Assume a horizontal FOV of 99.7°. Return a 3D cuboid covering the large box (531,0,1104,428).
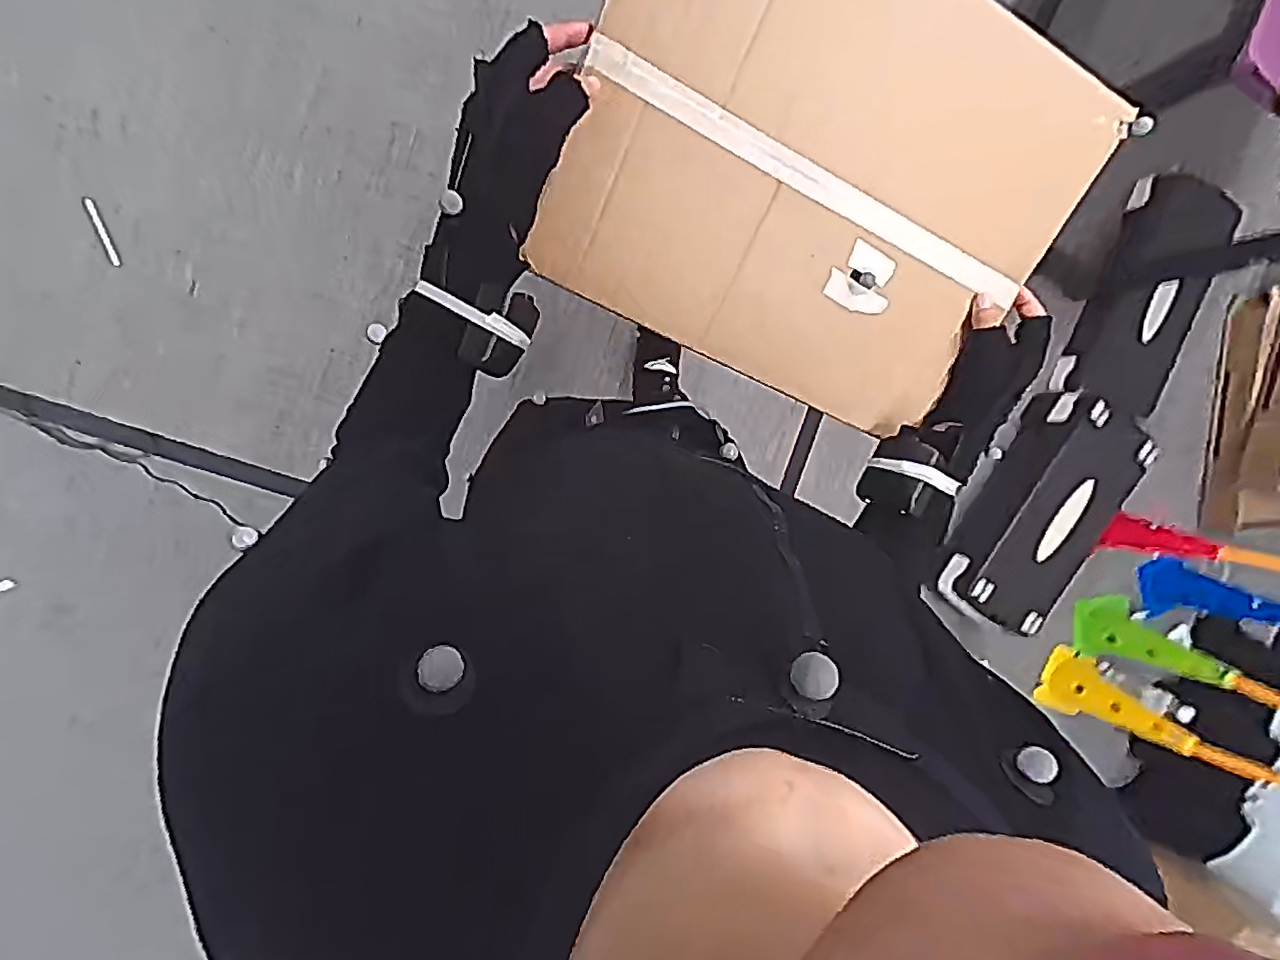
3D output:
[{"bbox_3d":[0.131,-0.305,0.584,0.408,0.320,0.320,22,111,-15],"label":"large box"}]
